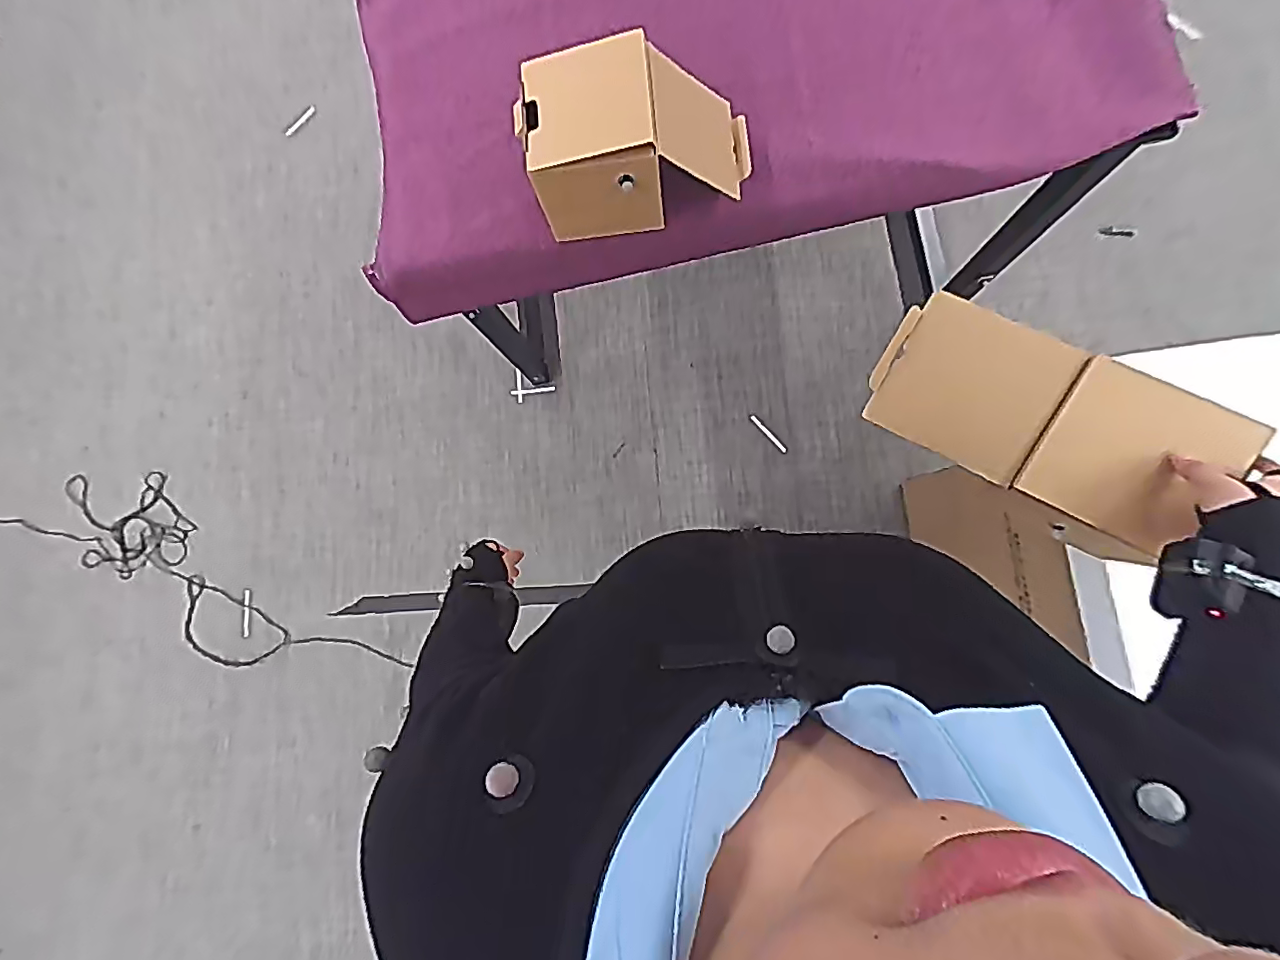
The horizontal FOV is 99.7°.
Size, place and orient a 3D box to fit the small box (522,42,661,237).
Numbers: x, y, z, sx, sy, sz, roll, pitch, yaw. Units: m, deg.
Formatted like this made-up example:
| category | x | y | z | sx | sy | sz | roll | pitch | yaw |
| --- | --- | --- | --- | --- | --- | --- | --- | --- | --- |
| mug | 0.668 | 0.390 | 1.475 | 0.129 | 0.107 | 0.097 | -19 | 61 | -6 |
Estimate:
| category | x | y | z | sx | sy | sz | roll | pitch | yaw |
| --- | --- | --- | --- | --- | --- | --- | --- | --- | --- |
| small box | -0.061 | -0.484 | 0.793 | 0.179 | 0.176 | 0.168 | -5 | 82 | 5 |
